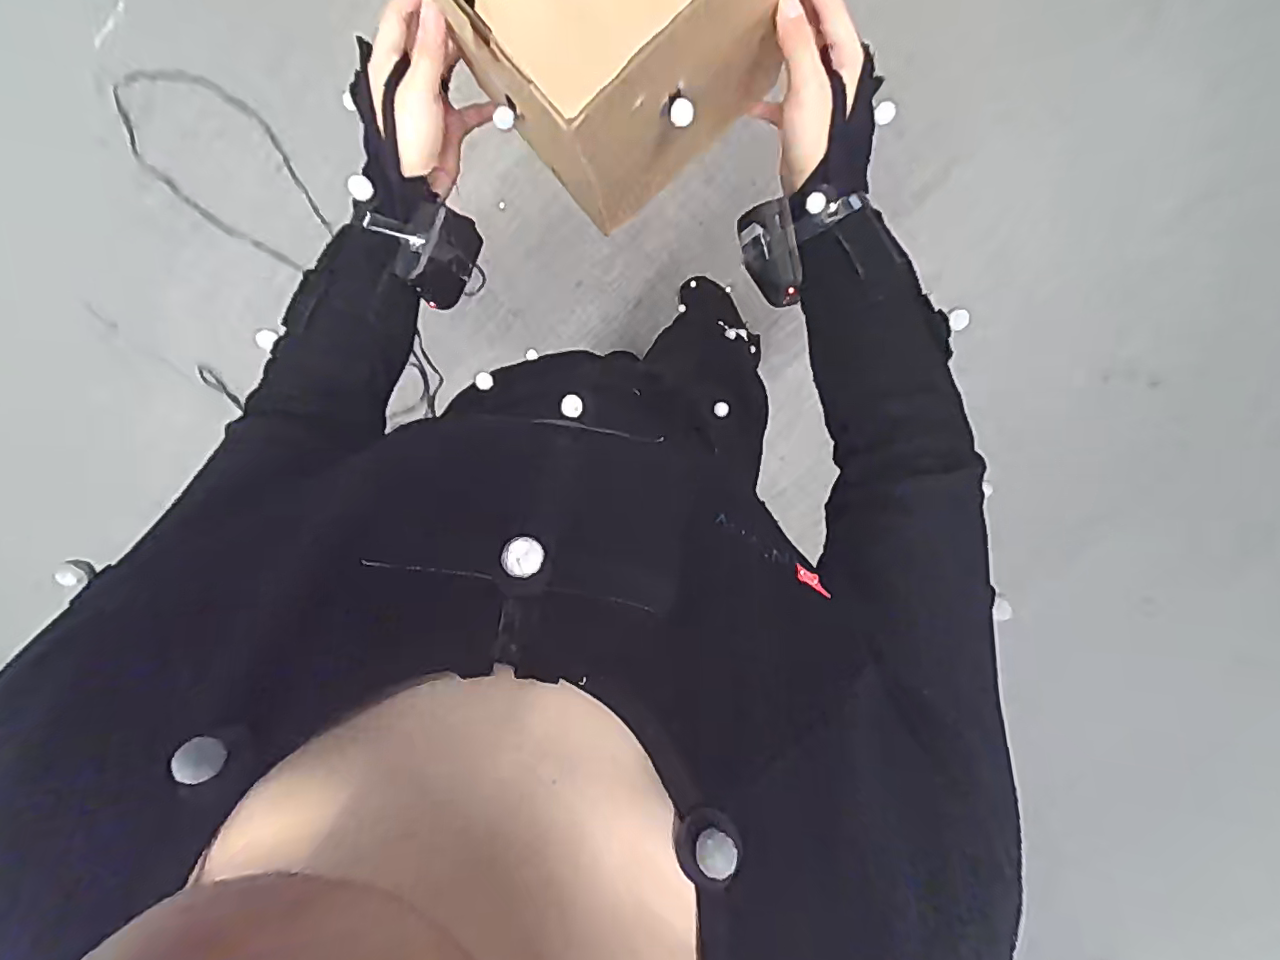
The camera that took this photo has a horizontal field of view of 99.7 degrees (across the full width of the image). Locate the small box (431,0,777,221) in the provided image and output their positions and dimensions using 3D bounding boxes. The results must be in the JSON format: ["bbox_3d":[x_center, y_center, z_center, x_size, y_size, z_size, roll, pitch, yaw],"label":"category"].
[{"bbox_3d":[-0.021,-0.309,0.351,0.179,0.176,0.168,-41,92,8],"label":"small box"}]
